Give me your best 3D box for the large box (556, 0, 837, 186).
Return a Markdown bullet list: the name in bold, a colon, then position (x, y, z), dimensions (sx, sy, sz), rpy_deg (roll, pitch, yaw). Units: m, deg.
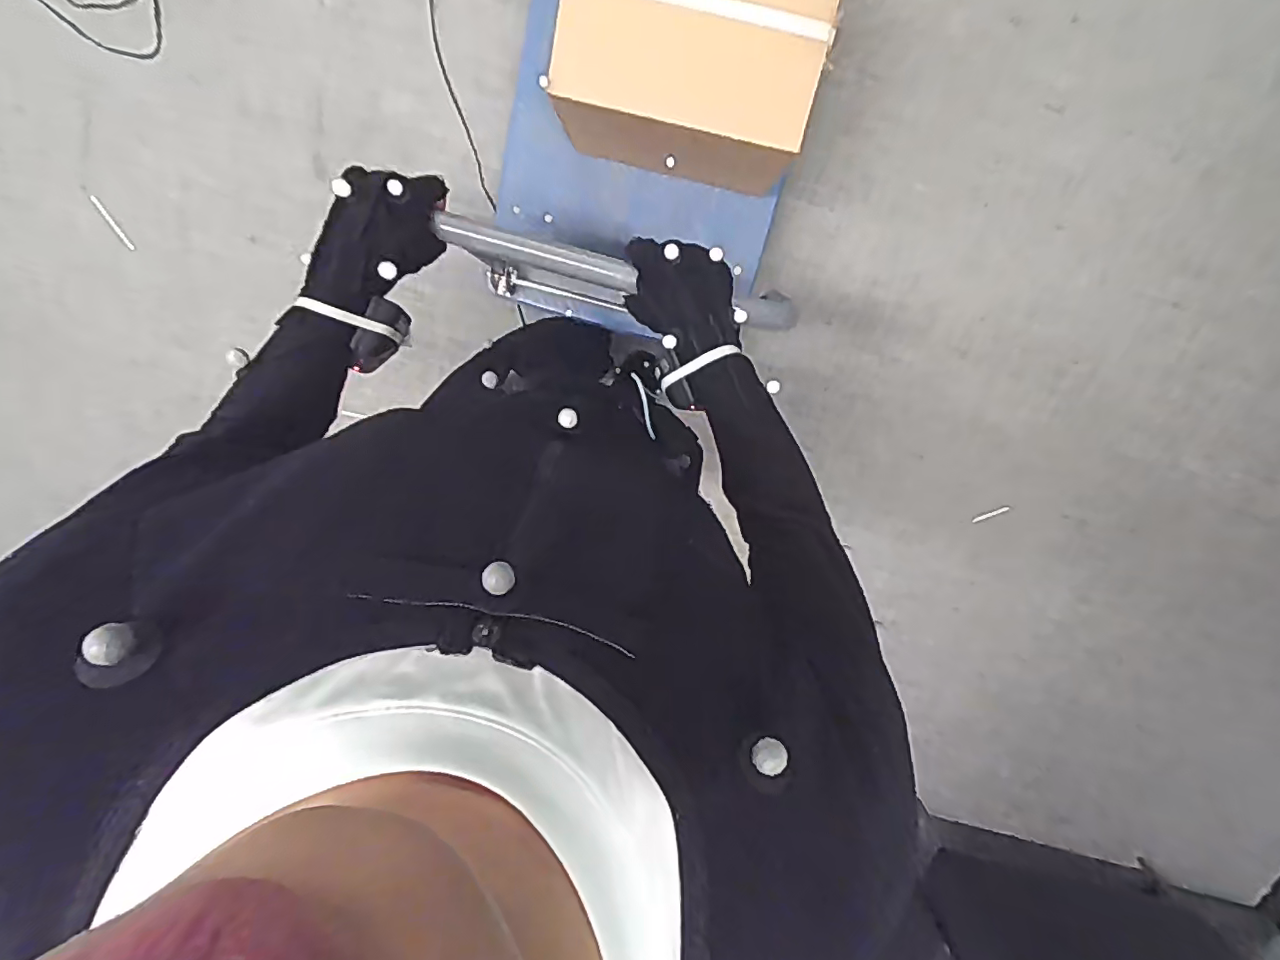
- **large box**: position (0.098, -0.749, 0.952), dimensions (0.408, 0.320, 0.320), rpy_deg (12, 106, 0)
